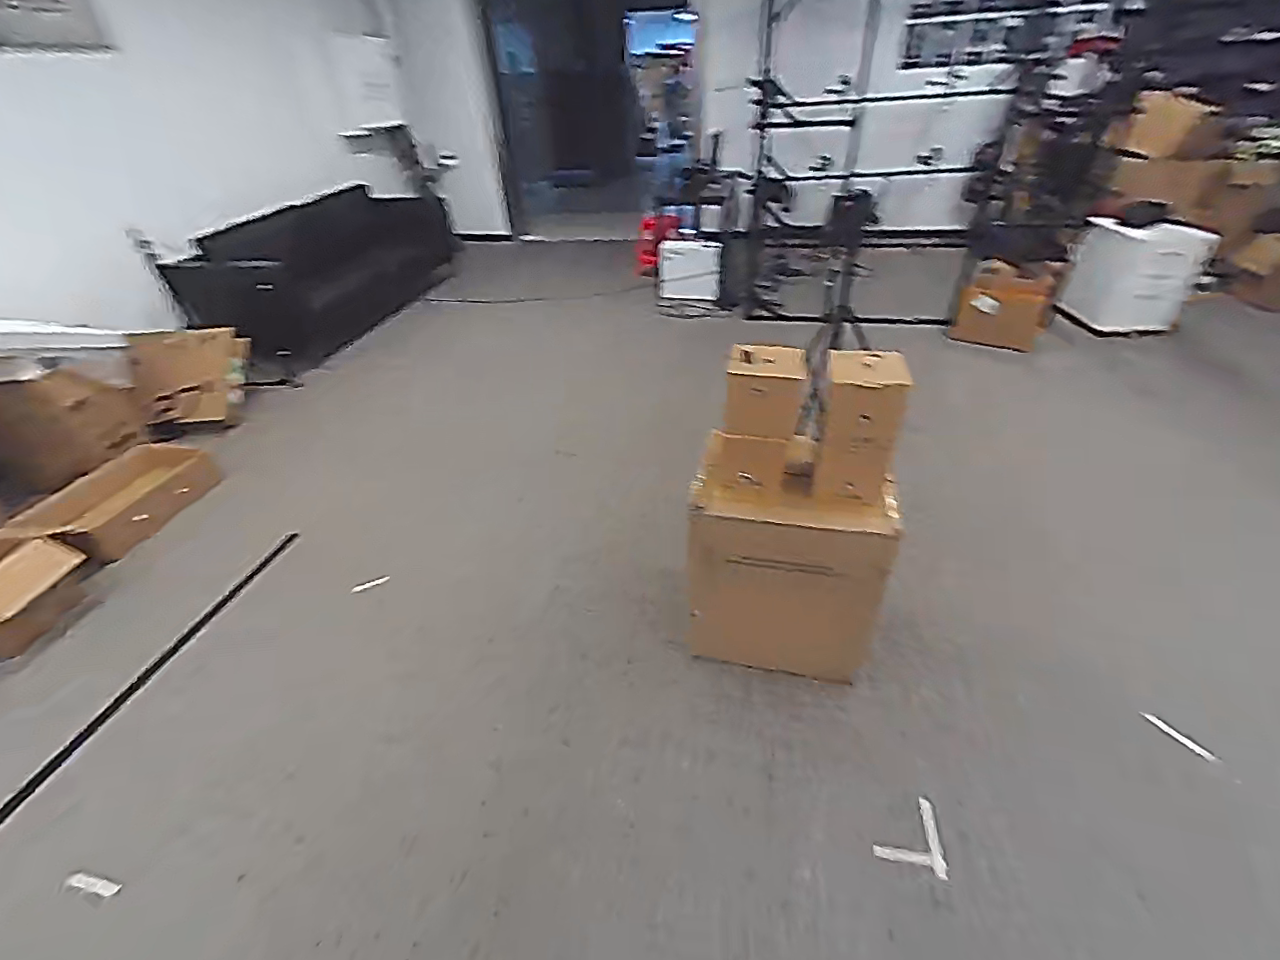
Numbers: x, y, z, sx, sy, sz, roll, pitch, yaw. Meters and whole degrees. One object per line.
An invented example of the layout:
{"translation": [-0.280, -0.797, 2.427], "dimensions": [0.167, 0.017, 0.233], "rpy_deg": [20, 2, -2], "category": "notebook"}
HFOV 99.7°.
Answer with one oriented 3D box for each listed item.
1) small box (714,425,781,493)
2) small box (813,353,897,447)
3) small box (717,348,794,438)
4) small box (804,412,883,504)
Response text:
{"translation": [0.291, -0.086, 1.466], "dimensions": [0.168, 0.176, 0.179], "rpy_deg": [4, 39, 12], "category": "small box"}
{"translation": [0.513, -0.193, 1.309], "dimensions": [0.168, 0.176, 0.179], "rpy_deg": [4, 38, 14], "category": "small box"}
{"translation": [0.292, -0.220, 1.370], "dimensions": [0.179, 0.176, 0.168], "rpy_deg": [6, 38, 11], "category": "small box"}
{"translation": [0.521, -0.060, 1.405], "dimensions": [0.168, 0.176, 0.179], "rpy_deg": [4, 38, 13], "category": "small box"}
